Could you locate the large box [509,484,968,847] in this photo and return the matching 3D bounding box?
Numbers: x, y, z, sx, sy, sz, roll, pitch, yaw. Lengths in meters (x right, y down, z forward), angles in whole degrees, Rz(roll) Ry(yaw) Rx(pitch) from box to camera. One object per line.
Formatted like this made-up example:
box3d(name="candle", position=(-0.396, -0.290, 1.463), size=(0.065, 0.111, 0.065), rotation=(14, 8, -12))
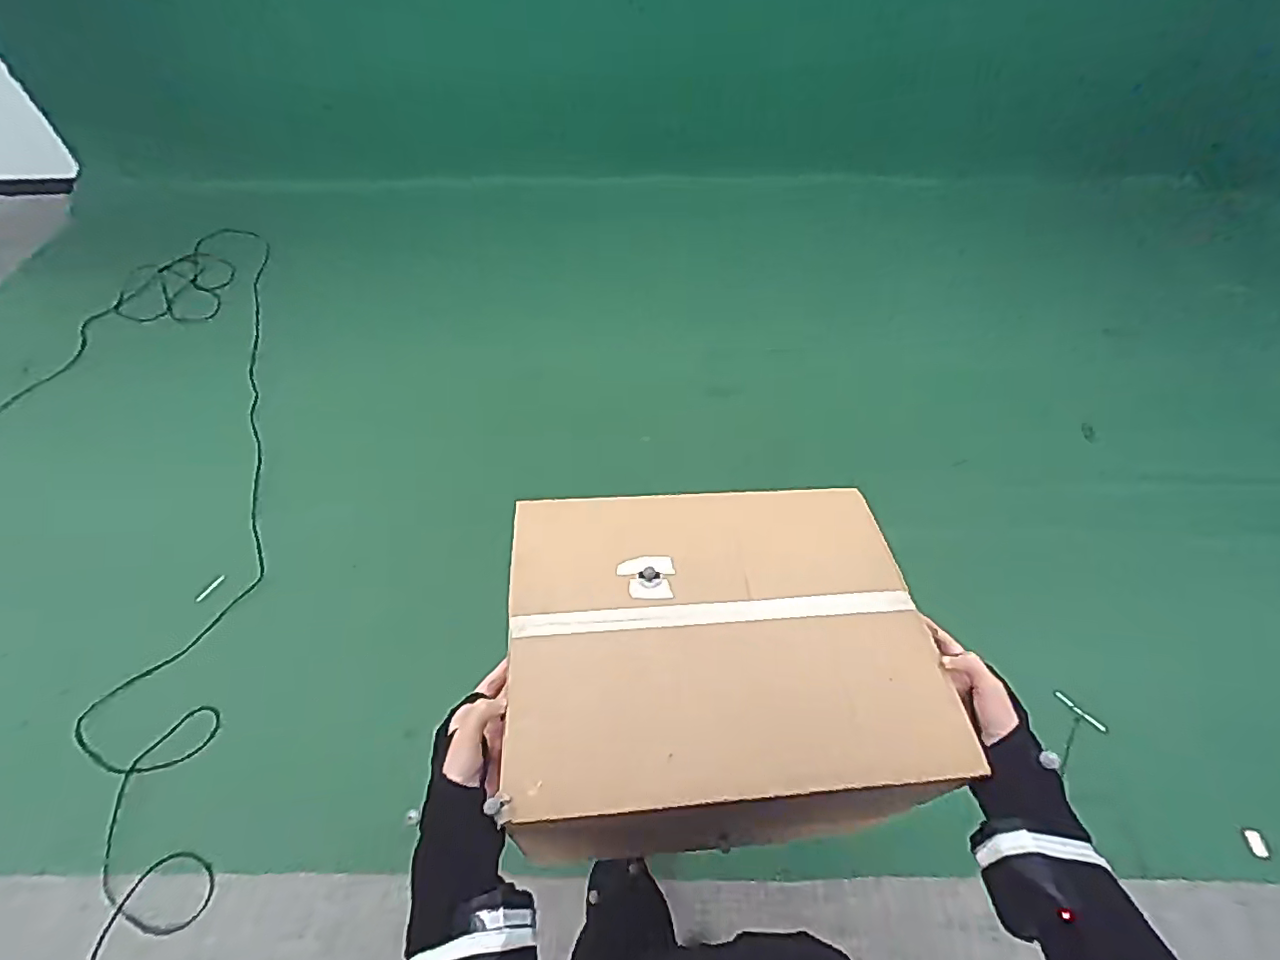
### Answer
box3d(name="large box", position=(0.072, 0.228, 0.658), size=(0.408, 0.320, 0.320), rotation=(-3, 50, -5))
